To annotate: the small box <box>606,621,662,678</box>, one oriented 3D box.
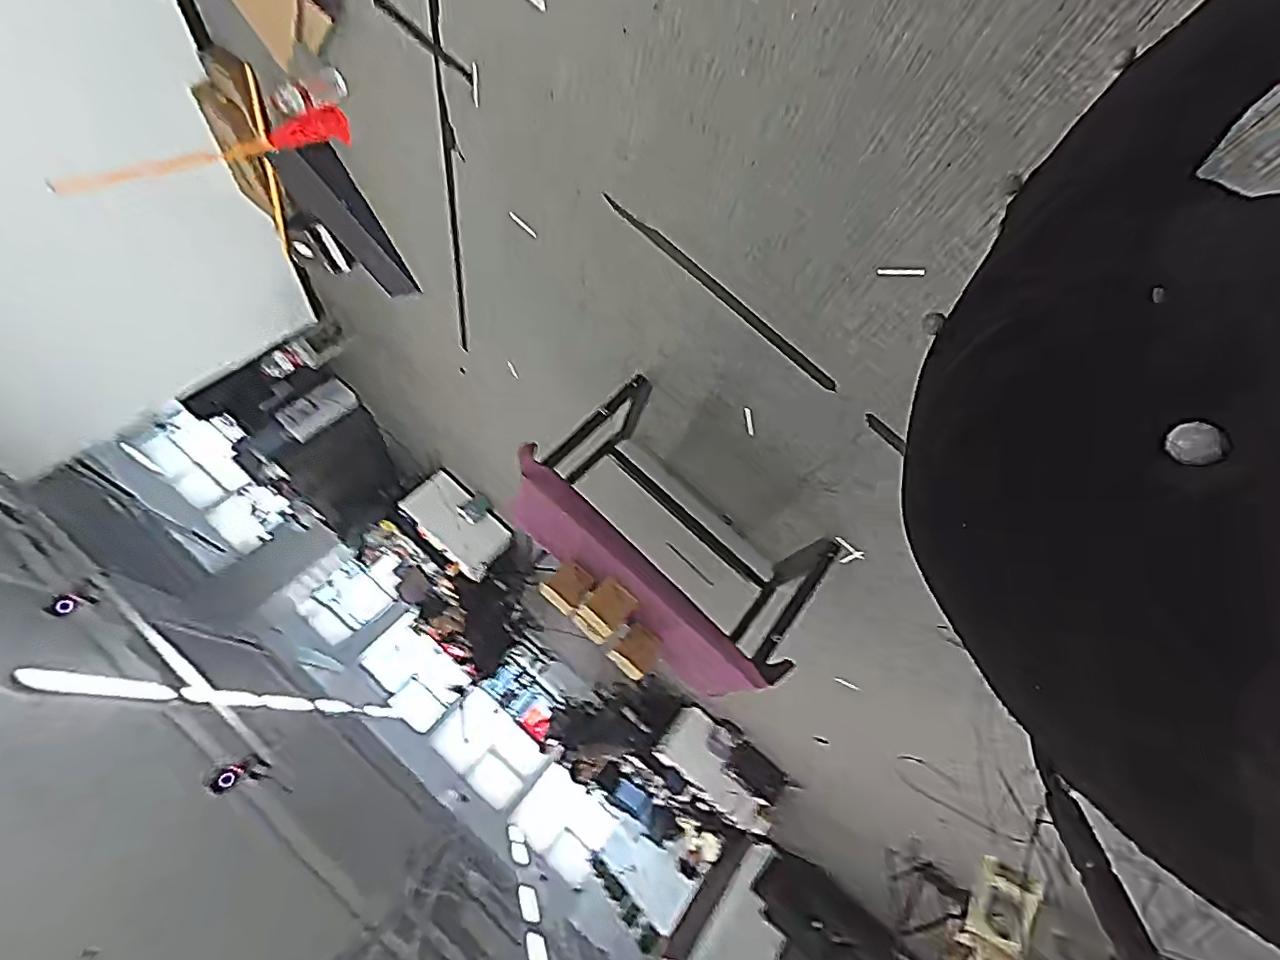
[{"bbox_3d":[-0.023,0.755,2.422,0.168,0.176,0.179,42,150,6],"label":"small box"}]
